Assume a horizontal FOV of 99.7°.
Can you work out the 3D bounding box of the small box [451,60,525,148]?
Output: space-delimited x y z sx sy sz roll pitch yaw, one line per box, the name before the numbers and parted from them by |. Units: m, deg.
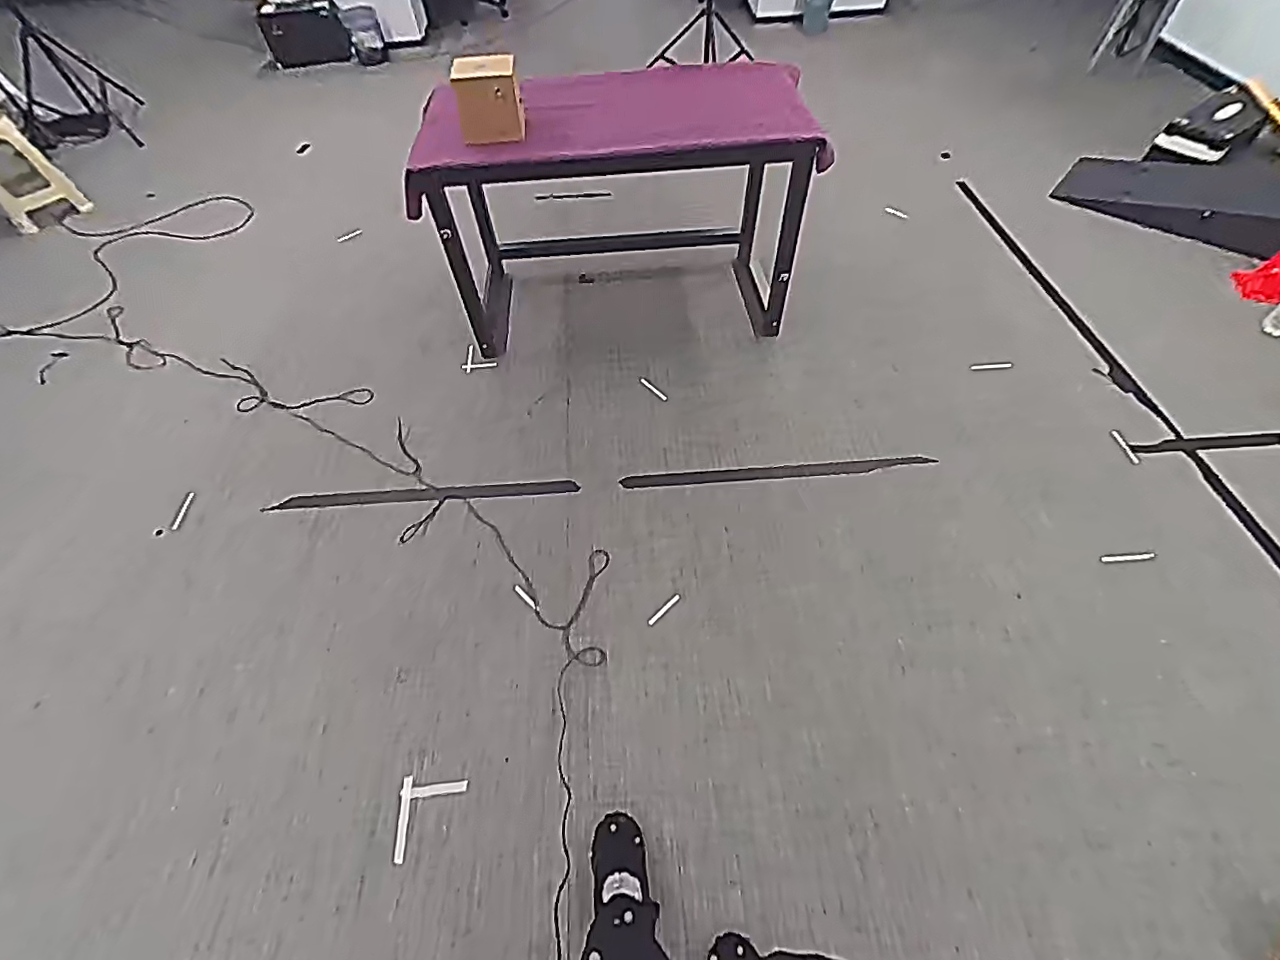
small box | -0.440 -1.109 1.597 0.179 0.176 0.168 -7 53 -2
